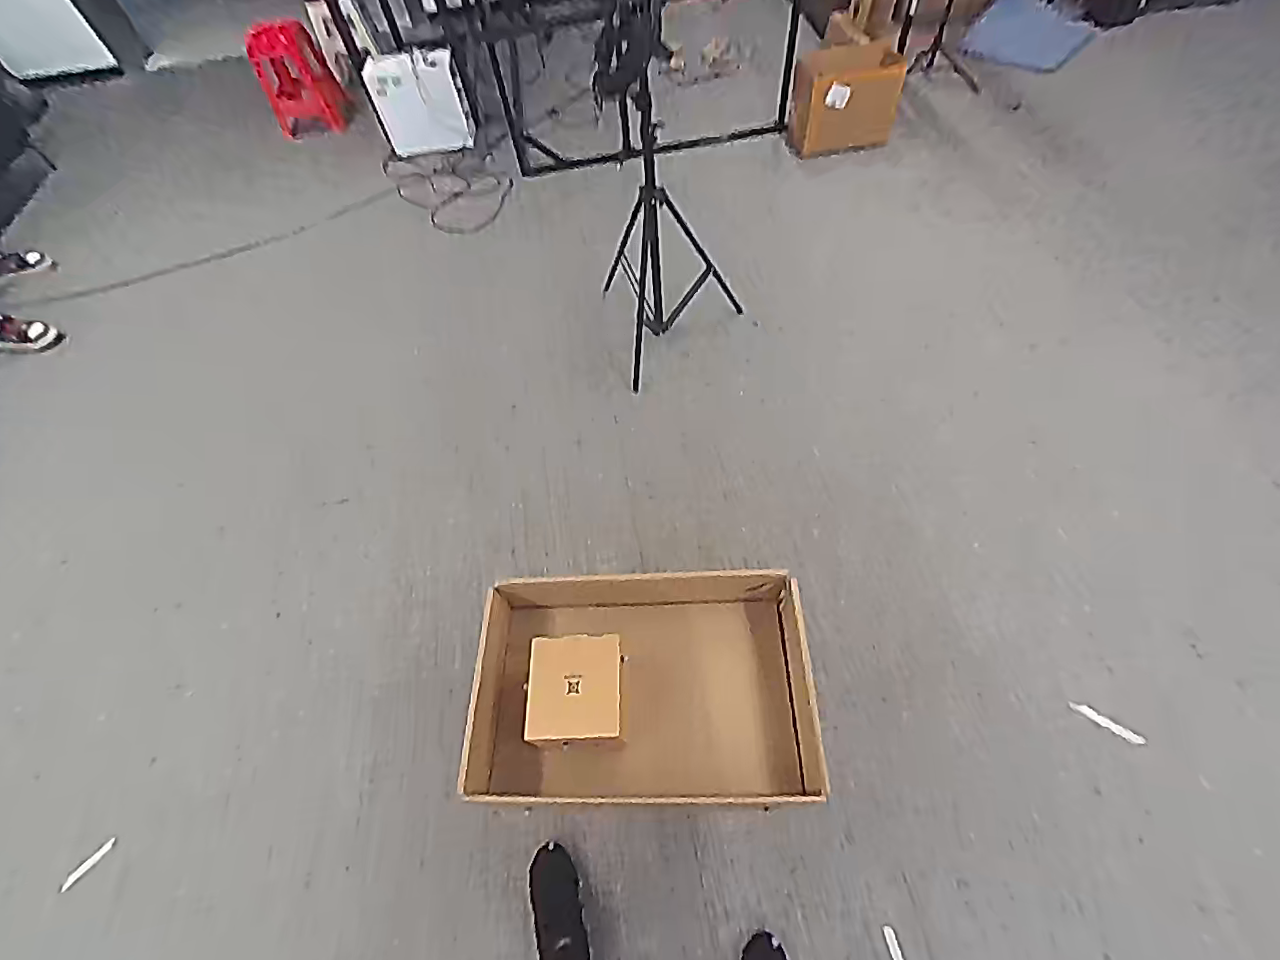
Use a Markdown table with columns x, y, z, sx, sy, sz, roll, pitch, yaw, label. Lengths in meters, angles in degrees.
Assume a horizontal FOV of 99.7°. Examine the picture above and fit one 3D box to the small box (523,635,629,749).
| x | y | z | sx | sy | sz | roll | pitch | yaw | label |
| --- | --- | --- | --- | --- | --- | --- | --- | --- | --- |
| -0.111 | 0.404 | 1.017 | 0.168 | 0.176 | 0.179 | -4 | 57 | 3 | small box |
